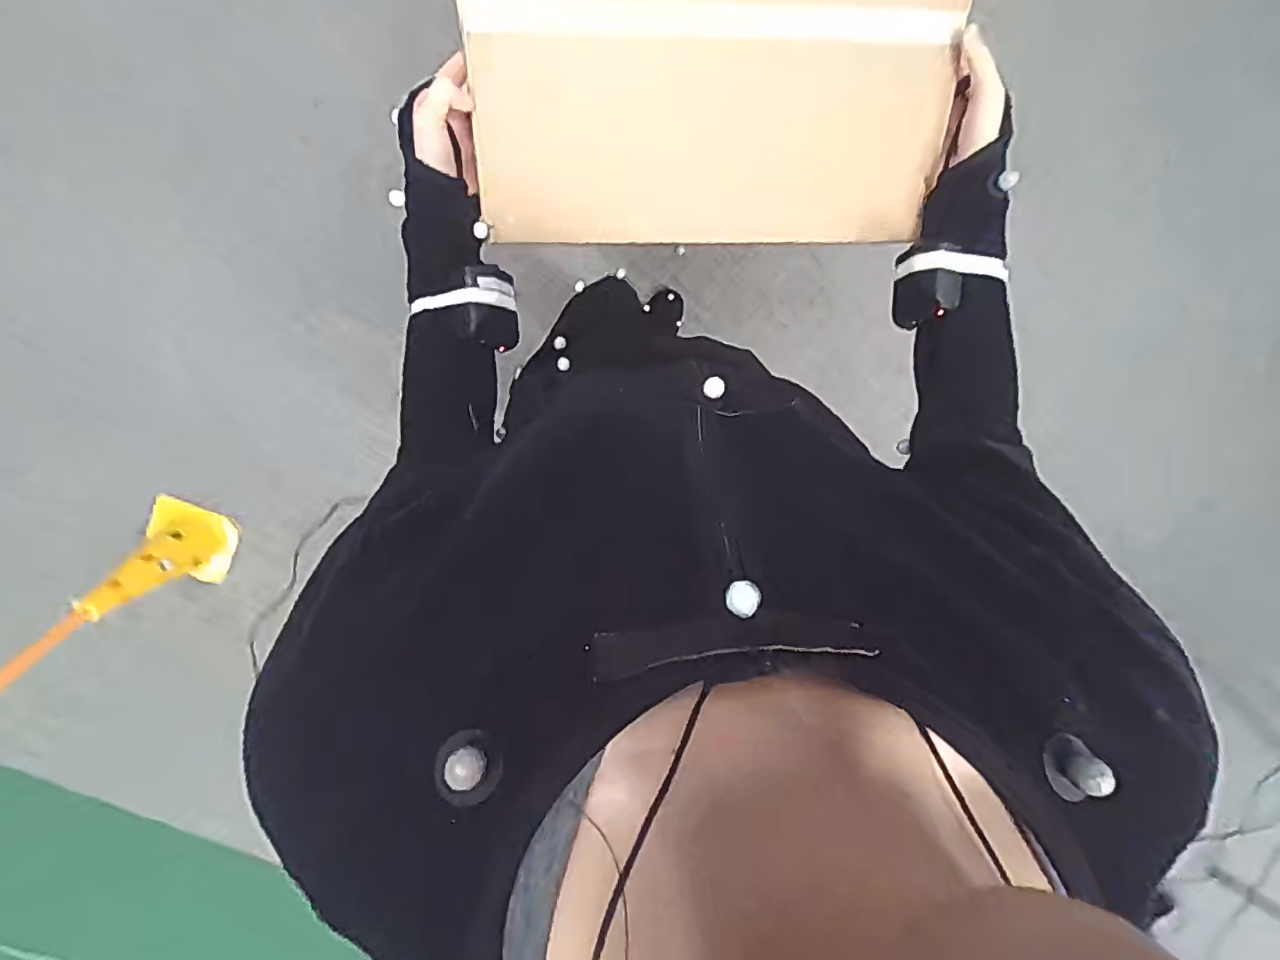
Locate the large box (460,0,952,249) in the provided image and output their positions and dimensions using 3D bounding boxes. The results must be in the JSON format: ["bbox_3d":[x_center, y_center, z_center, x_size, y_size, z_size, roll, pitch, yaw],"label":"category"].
[{"bbox_3d":[0.047,-0.427,0.573,0.408,0.320,0.320,-3,115,-4],"label":"large box"}]
